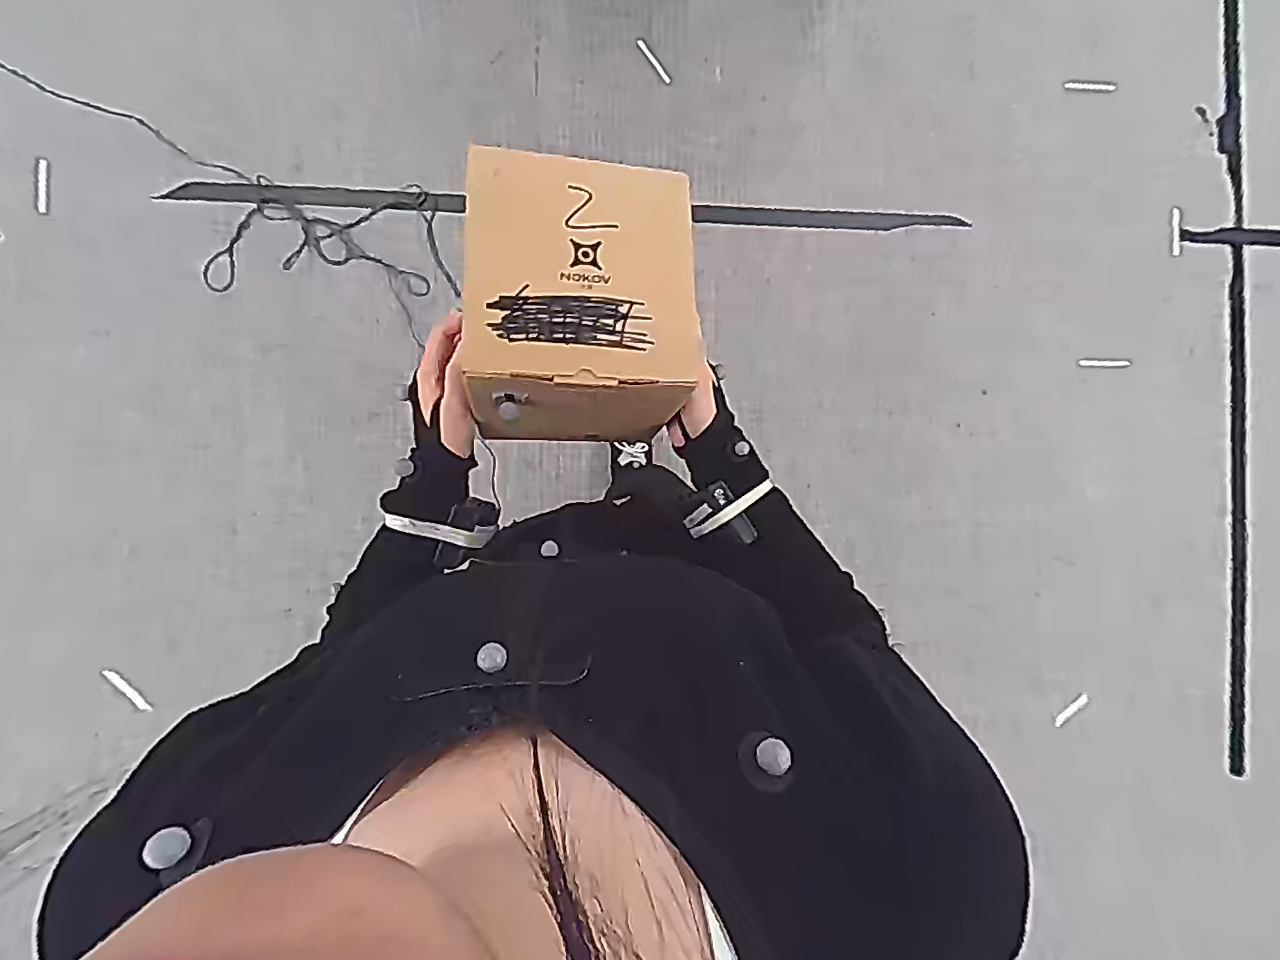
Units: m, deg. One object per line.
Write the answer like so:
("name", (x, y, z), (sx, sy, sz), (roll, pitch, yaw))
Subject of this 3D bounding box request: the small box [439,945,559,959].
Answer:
("small box", (-0.183, 0.714, 0.647), (0.168, 0.176, 0.179), (2, 90, -5))

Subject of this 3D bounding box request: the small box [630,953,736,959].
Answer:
("small box", (0.066, 0.729, 0.663), (0.168, 0.176, 0.179), (0, 92, -3))

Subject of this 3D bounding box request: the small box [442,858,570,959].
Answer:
("small box", (-0.194, 0.702, 0.809), (0.168, 0.176, 0.179), (2, 89, -4))

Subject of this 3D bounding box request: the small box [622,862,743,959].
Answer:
("small box", (0.059, 0.730, 0.826), (0.168, 0.176, 0.179), (-1, 90, -4))
